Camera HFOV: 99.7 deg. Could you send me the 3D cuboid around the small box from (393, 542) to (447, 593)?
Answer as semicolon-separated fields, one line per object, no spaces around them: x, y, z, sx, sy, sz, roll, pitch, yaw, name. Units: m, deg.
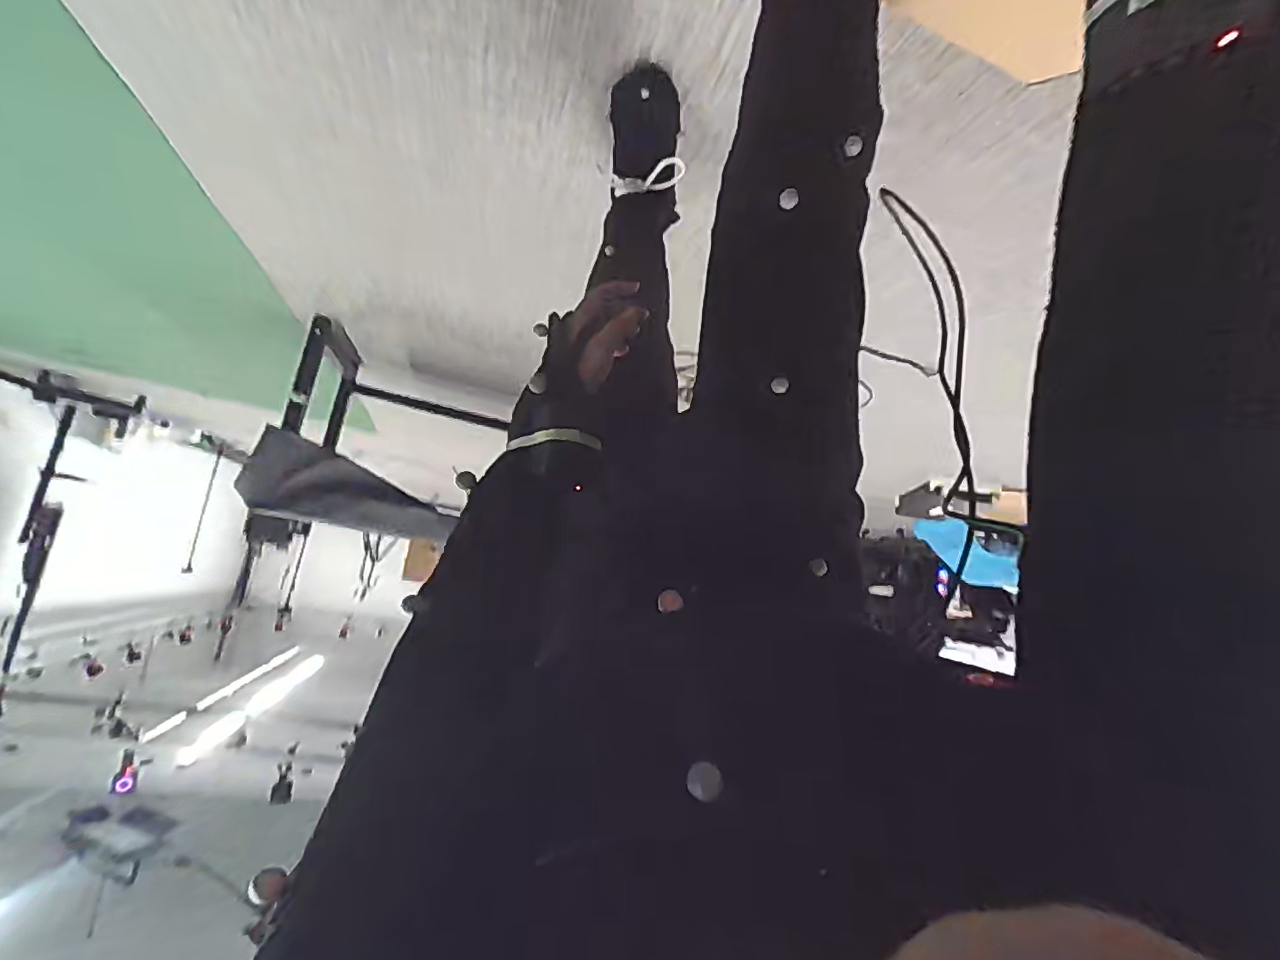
-0.862;0.342;2.131;0.168;0.176;0.179;12;169;-18;small box
